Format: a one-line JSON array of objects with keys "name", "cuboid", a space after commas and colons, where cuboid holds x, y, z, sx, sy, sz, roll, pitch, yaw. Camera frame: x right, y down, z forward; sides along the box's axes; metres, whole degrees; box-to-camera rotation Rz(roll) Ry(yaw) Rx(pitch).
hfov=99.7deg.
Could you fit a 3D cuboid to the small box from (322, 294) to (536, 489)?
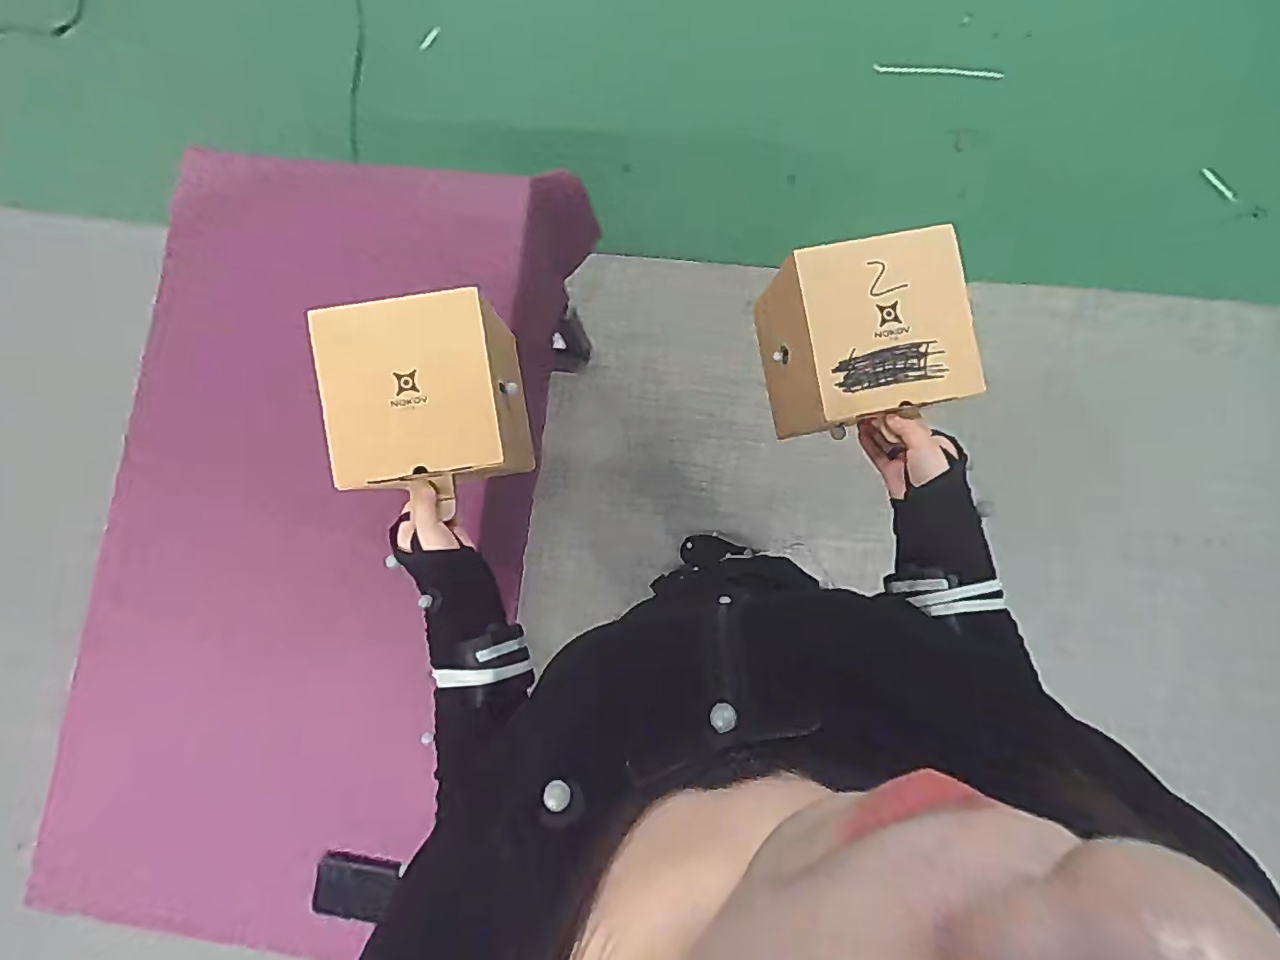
[{"name": "small box", "cuboid": [-0.217, -0.085, 0.599, 0.168, 0.176, 0.179, -8, 91, -2]}]
